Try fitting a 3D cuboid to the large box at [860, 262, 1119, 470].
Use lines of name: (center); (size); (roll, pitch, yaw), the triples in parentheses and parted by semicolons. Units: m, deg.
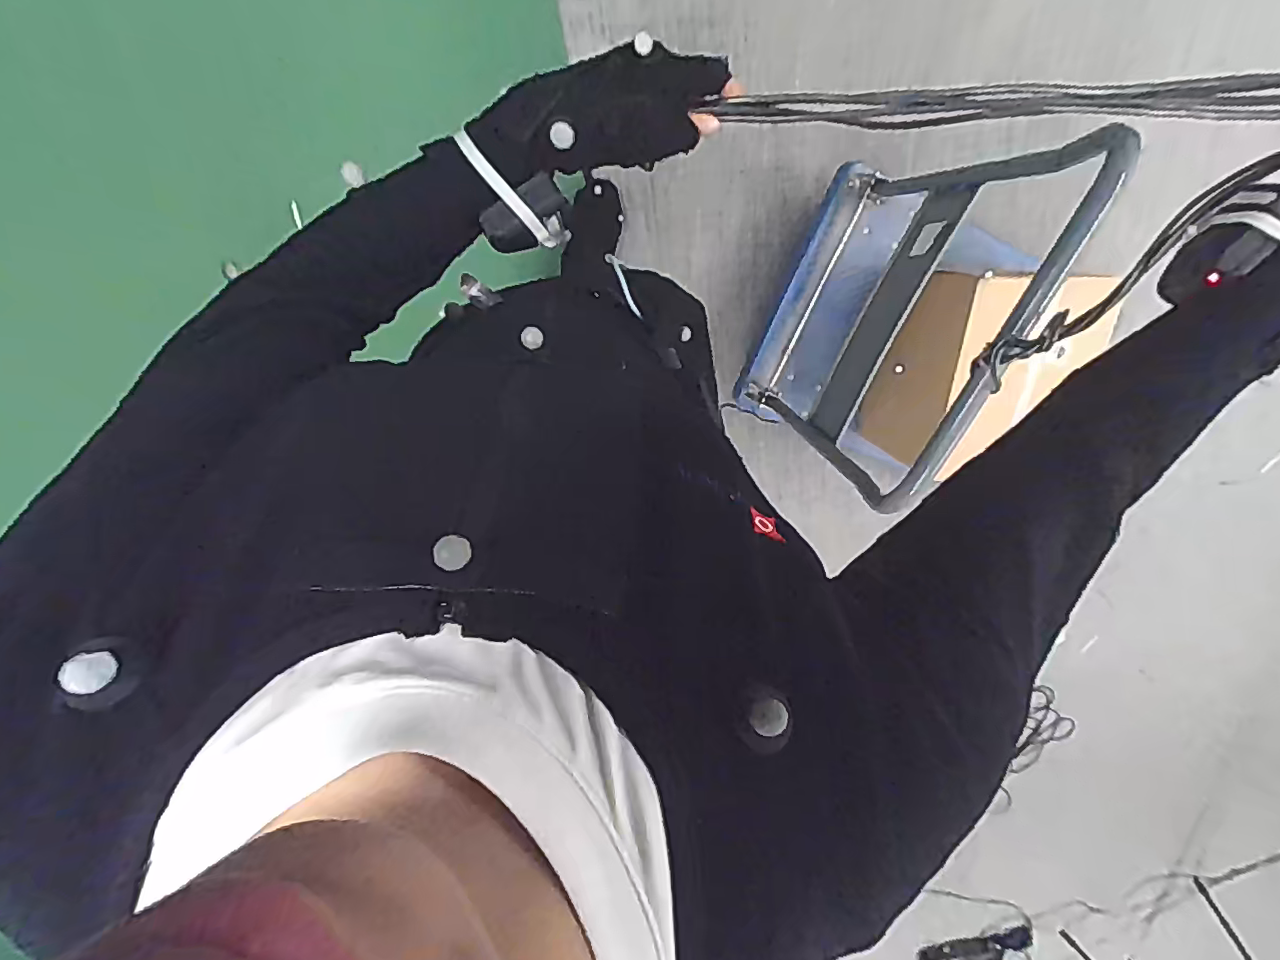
large box: (0.734, -0.267, 1.213); (0.320, 0.320, 0.408); (-3, 114, -8)
